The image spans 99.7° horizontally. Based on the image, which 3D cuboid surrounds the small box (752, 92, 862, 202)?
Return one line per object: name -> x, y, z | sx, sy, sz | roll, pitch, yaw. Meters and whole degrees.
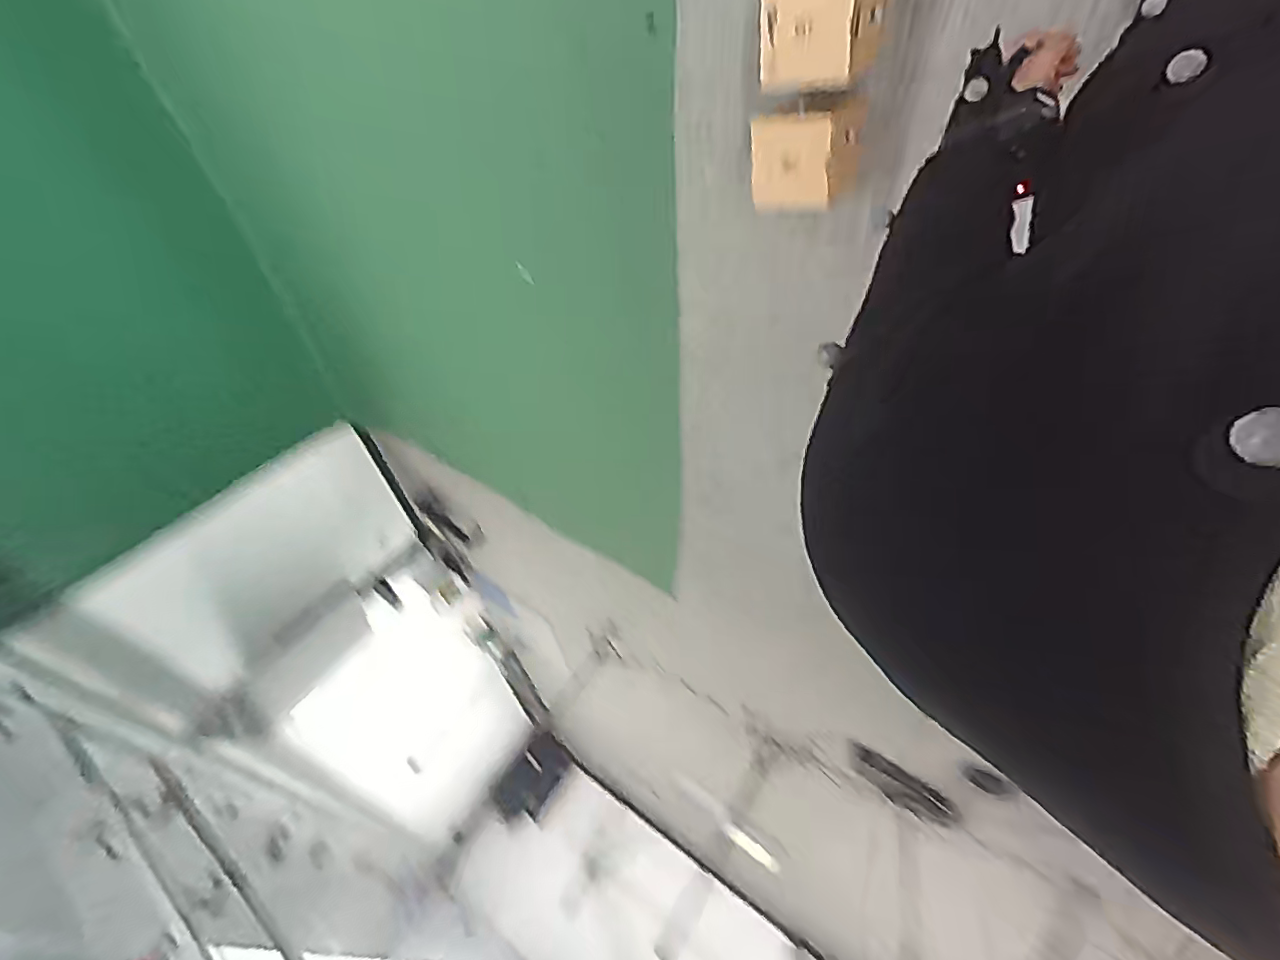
small box -> 0.356, -0.713, 1.155 | 0.179, 0.176, 0.168 | 22, 141, 31
